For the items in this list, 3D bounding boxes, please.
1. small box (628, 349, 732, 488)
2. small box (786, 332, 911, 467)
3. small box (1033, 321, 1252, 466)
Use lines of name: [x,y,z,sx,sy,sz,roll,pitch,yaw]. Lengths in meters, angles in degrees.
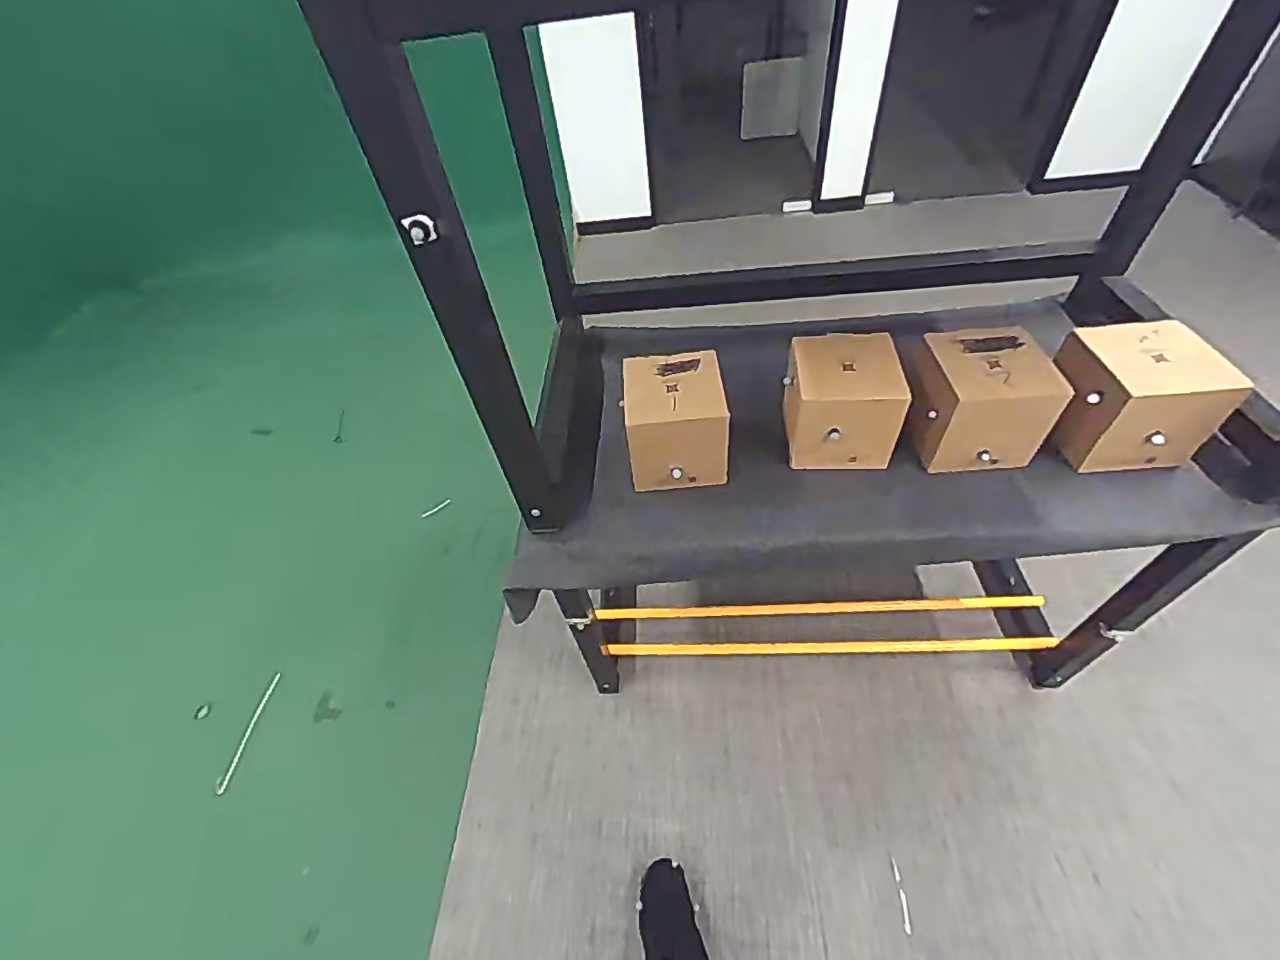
small box: [0.067,-0.107,0.961,0.168,0.176,0.179,-5,50,3]
small box: [0.354,-0.137,0.953,0.168,0.176,0.179,0,49,8]
small box: [0.798,-0.134,0.886,0.168,0.176,0.179,-4,48,4]
